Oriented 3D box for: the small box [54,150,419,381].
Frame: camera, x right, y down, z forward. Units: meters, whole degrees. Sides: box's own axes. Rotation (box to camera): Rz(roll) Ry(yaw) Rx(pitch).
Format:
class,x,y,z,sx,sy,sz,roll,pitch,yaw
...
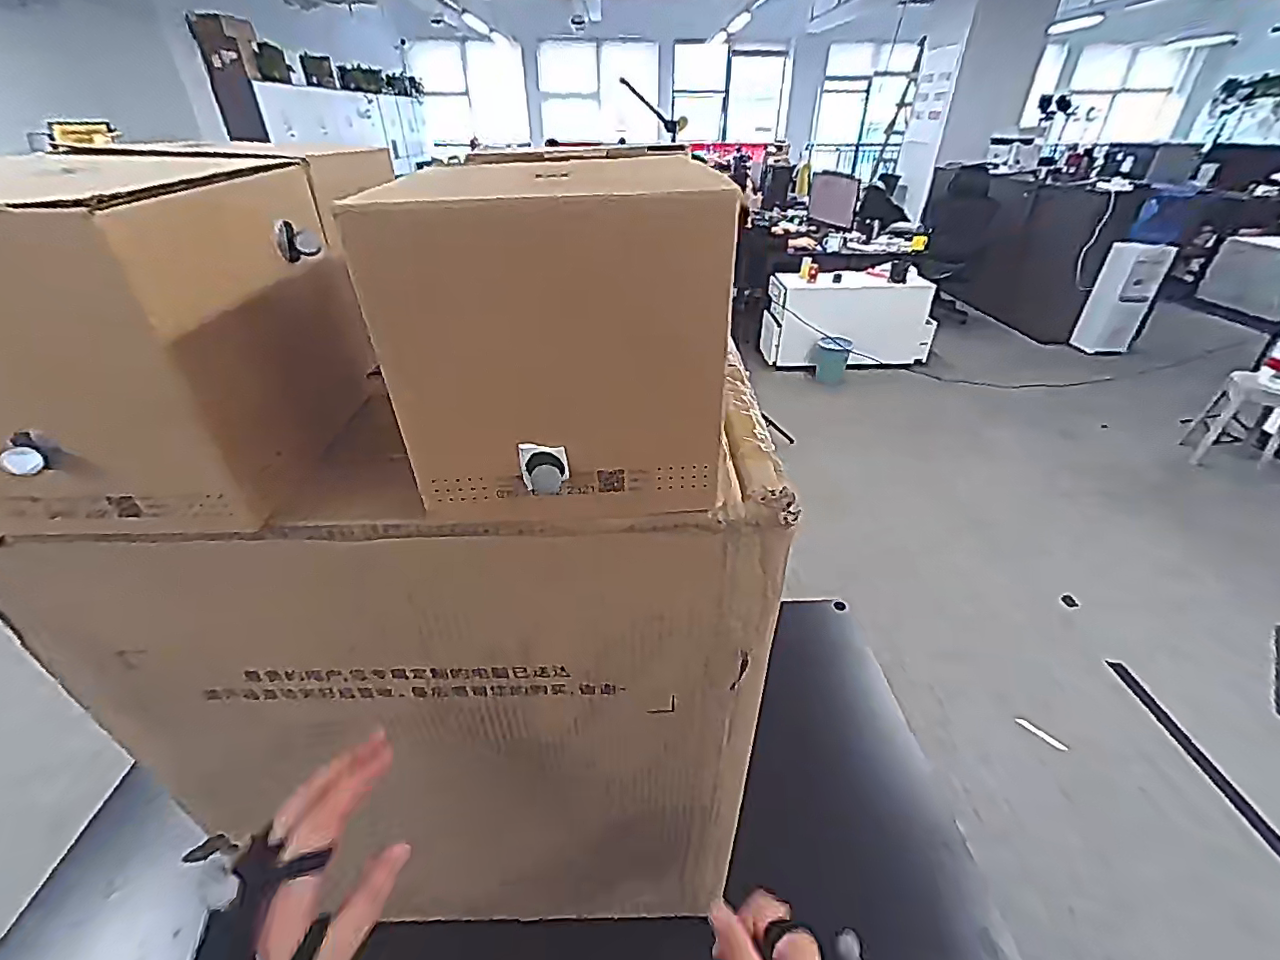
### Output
class,x,y,z,sx,sy,sz,roll,pitch,yaw
small box,-0.323,-0.195,0.484,0.179,0.176,0.168,0,33,-1
